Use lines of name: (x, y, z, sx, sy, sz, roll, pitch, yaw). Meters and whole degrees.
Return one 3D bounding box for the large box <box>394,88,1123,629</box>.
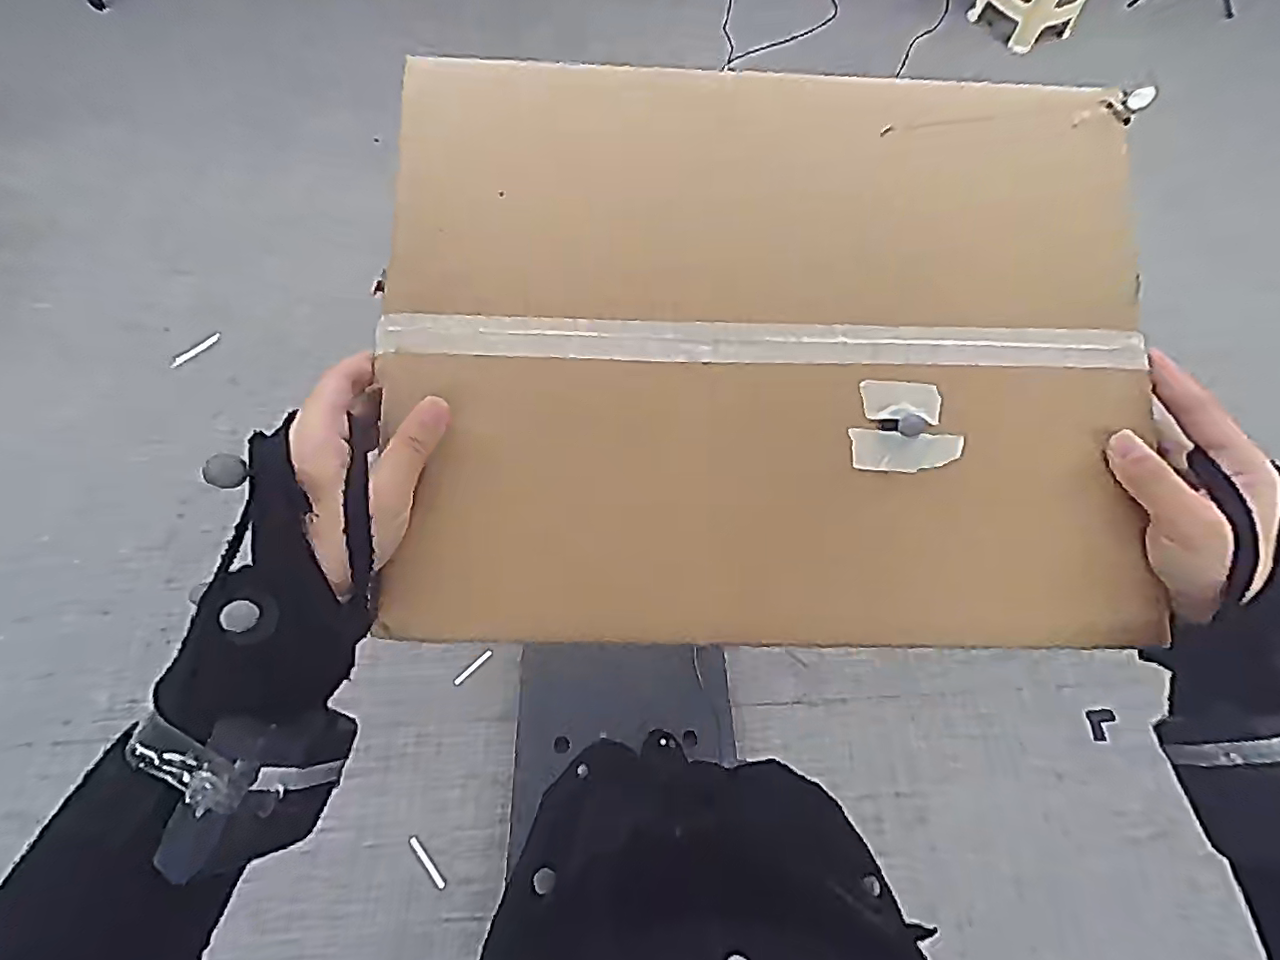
large box: (0.061, -0.060, 0.452, 0.408, 0.320, 0.320, 1, 85, -2)
